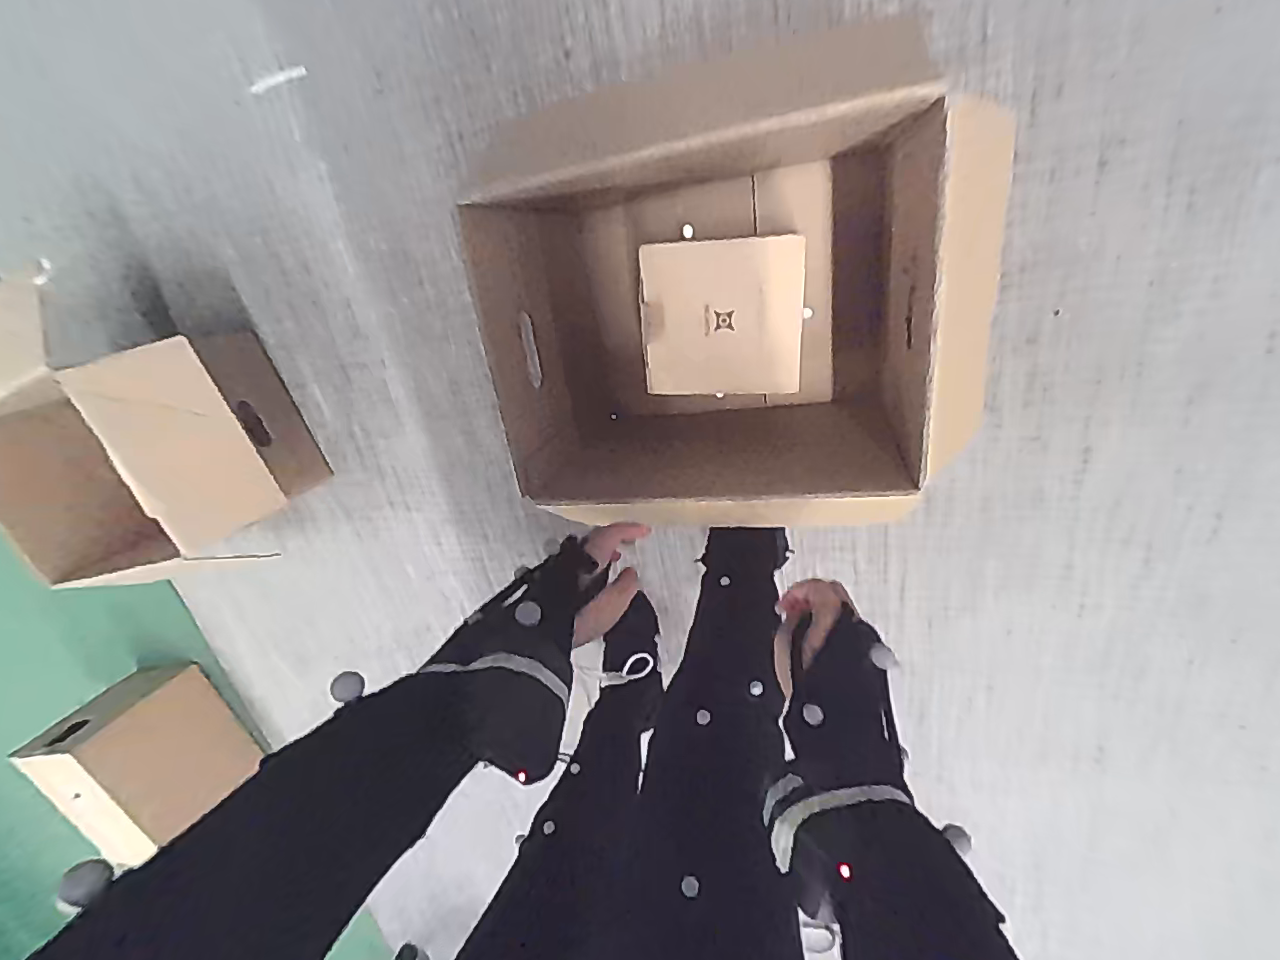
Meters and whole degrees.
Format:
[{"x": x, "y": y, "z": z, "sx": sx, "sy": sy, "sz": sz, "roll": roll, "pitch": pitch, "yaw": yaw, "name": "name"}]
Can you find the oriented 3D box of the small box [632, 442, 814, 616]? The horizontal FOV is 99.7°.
[{"x": 0.118, "y": 0.082, "z": 0.780, "sx": 0.179, "sy": 0.168, "sz": 0.176, "roll": 32, "pitch": 144, "yaw": -13, "name": "small box"}]
